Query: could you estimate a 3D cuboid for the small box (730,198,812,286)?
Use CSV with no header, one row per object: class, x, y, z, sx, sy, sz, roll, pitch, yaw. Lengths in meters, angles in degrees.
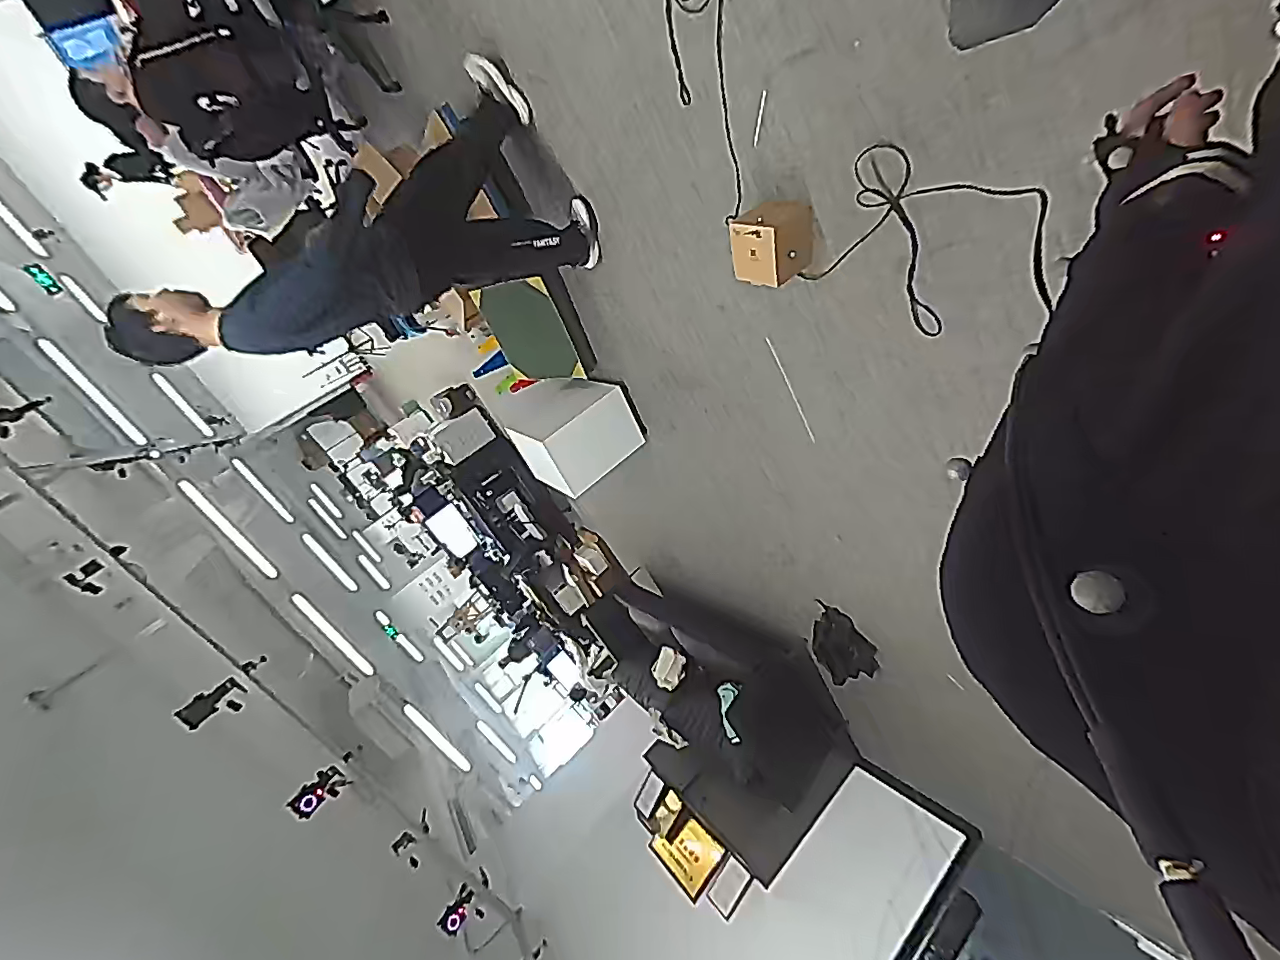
small box,0.391,-0.706,1.599,0.168,0.176,0.179,32,152,41
